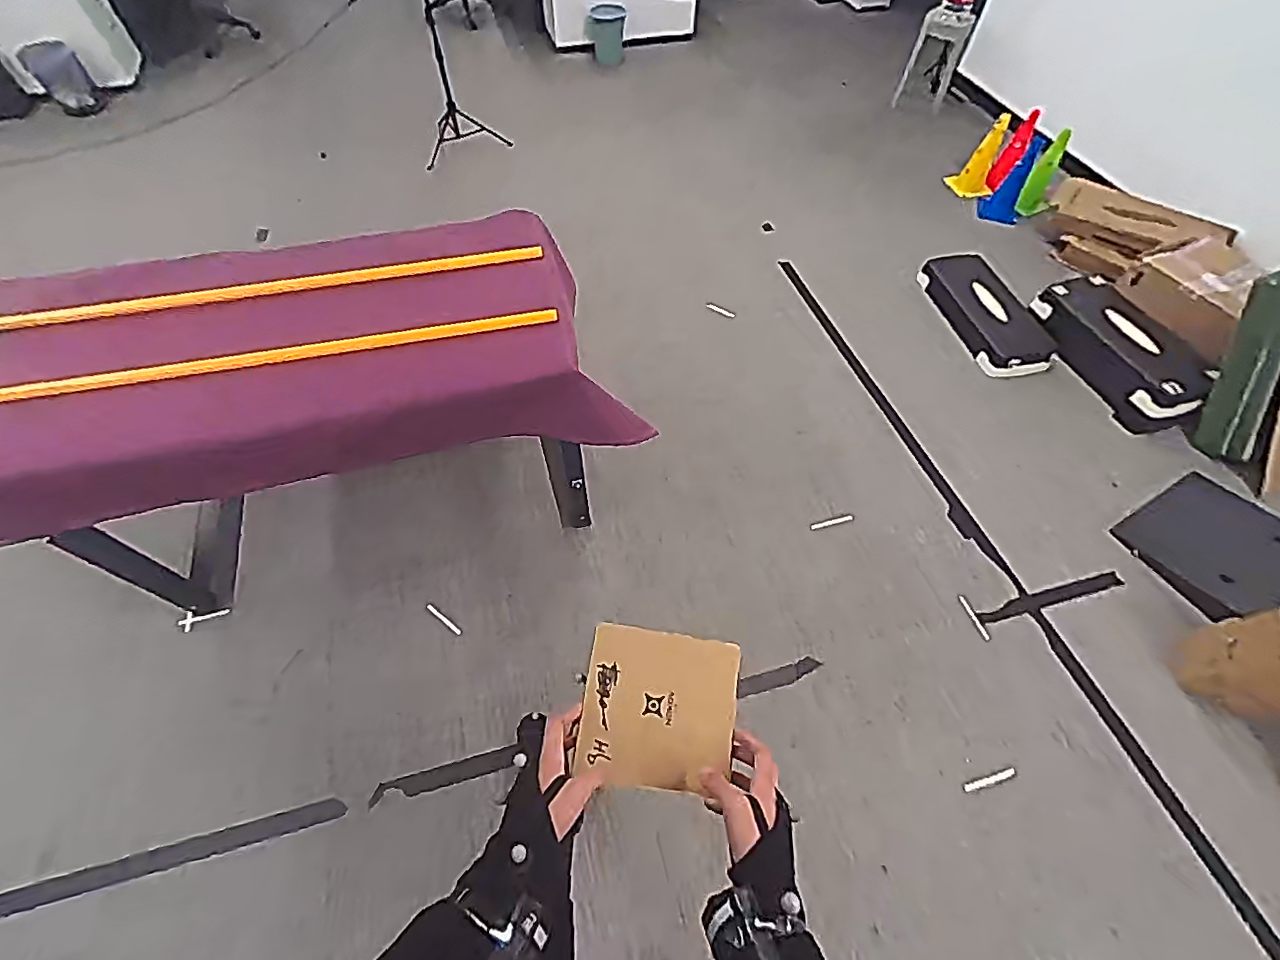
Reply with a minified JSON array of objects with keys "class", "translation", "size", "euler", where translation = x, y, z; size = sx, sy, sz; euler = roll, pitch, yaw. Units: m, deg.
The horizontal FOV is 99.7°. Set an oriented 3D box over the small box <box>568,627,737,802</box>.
[{"class":"small box","translation":[0.009,0.291,0.692],"size":[0.179,0.176,0.168],"euler":[11,69,-4]}]
